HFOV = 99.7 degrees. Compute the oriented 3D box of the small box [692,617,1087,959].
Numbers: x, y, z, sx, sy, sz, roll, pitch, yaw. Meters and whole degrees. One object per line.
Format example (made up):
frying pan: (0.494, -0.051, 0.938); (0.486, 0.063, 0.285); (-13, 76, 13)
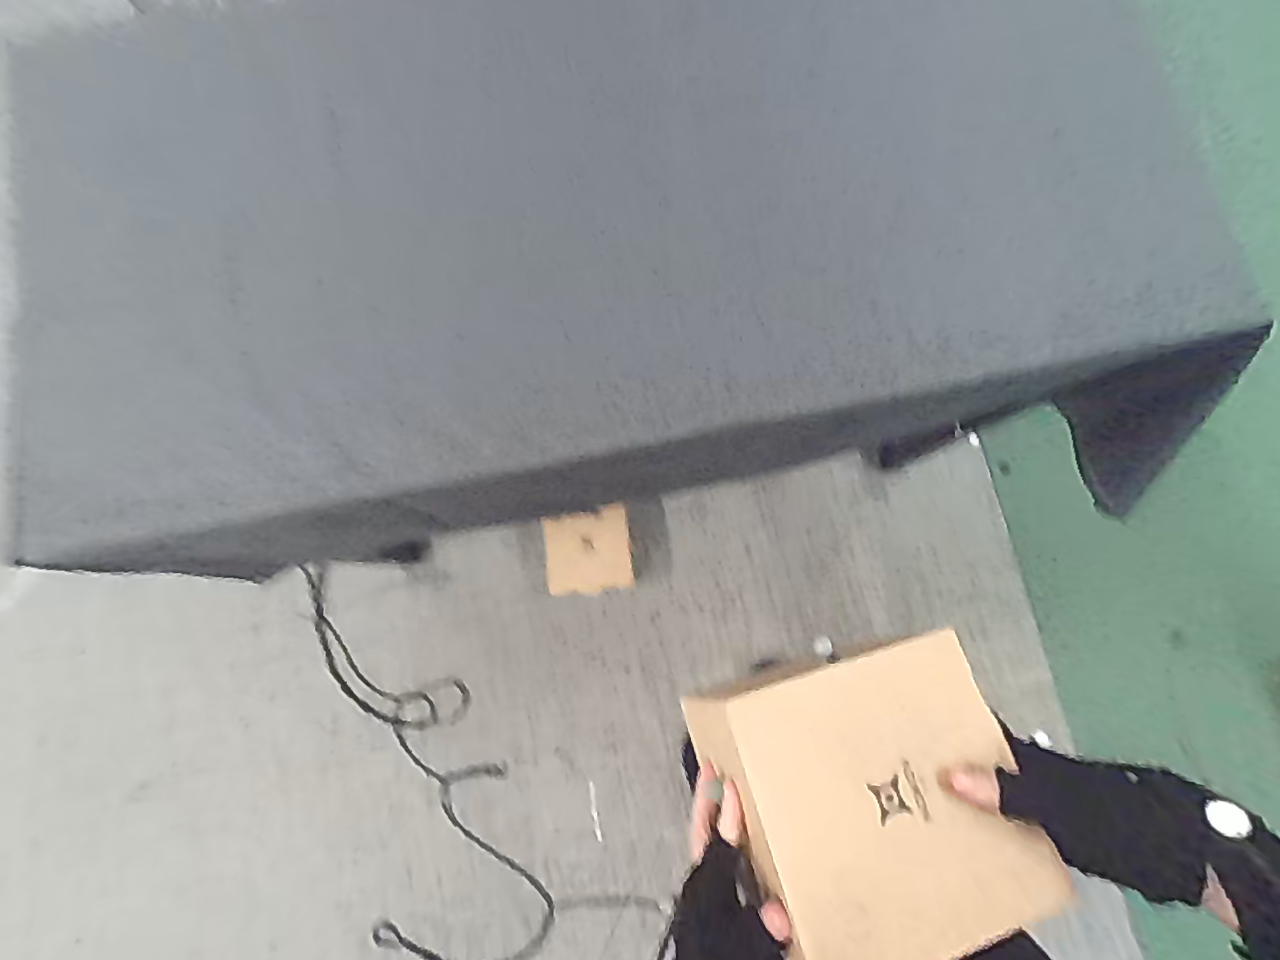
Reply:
small box: (0.147, 0.214, 0.395); (0.179, 0.176, 0.168); (-13, 70, -12)
